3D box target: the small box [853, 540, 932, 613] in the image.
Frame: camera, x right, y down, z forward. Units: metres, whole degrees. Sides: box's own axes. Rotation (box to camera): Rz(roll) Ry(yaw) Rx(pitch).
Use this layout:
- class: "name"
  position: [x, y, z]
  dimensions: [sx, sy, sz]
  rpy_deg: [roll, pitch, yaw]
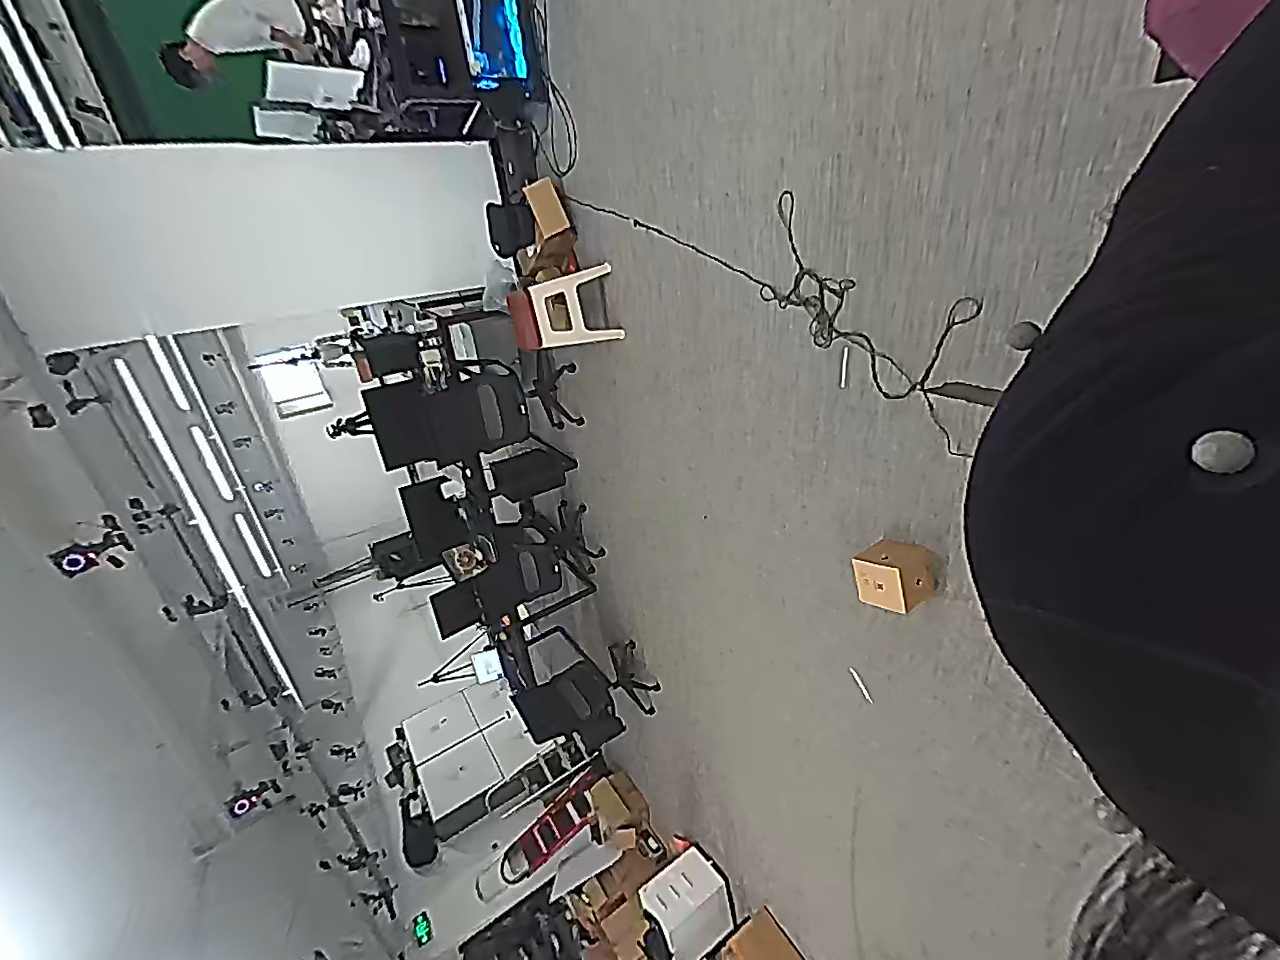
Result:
- class: "small box"
  position: [0.847, 0.313, 1.802]
  dimensions: [0.179, 0.176, 0.168]
  rpy_deg: [8, 116, 59]
